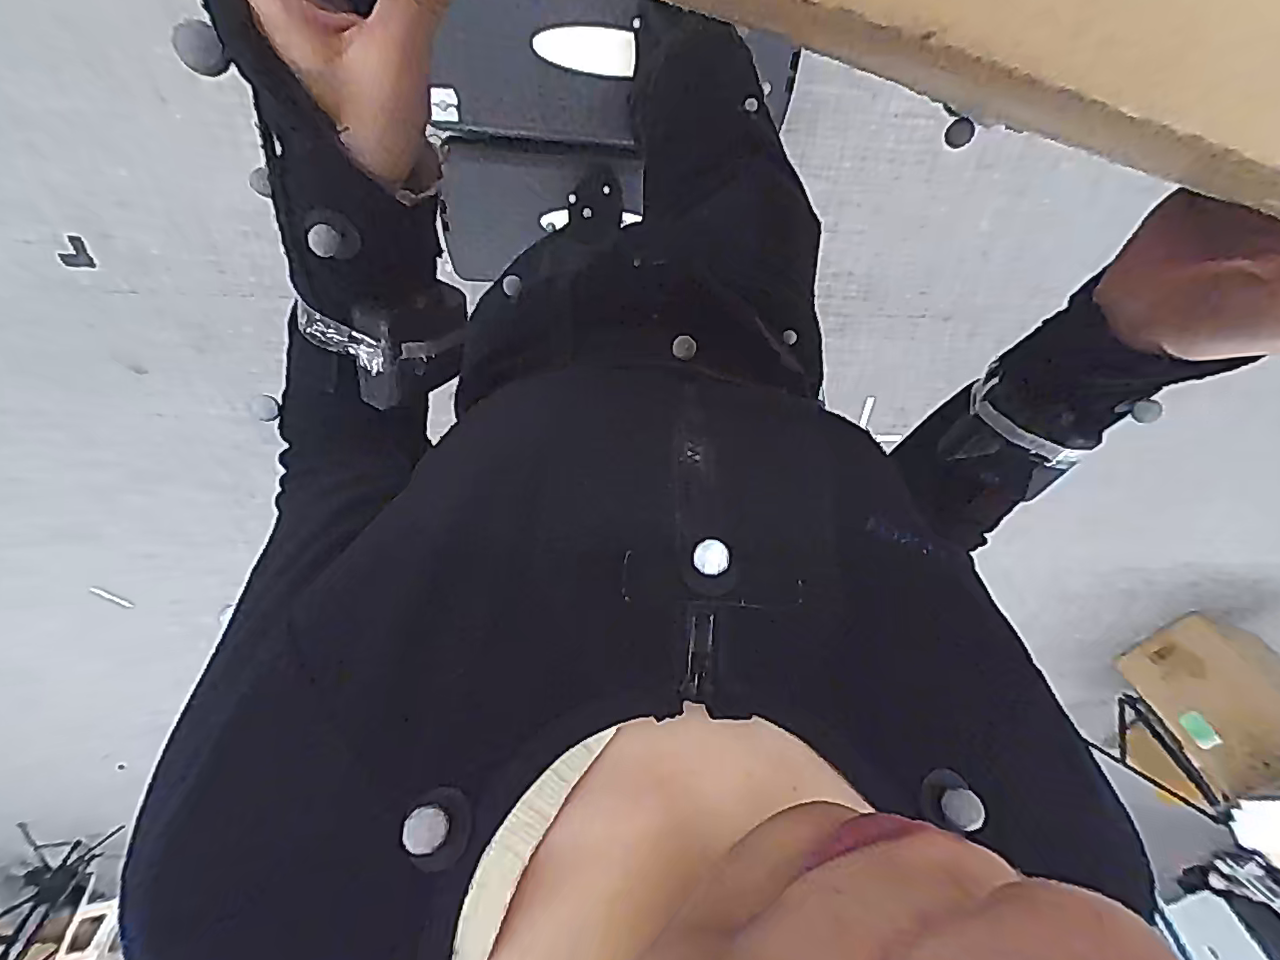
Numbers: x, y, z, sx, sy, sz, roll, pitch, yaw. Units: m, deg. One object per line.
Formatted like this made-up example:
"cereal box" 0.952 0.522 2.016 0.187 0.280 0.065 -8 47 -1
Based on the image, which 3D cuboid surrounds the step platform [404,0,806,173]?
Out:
"step platform" -0.056 -0.774 0.978 0.684 0.204 0.286 5 128 -10
